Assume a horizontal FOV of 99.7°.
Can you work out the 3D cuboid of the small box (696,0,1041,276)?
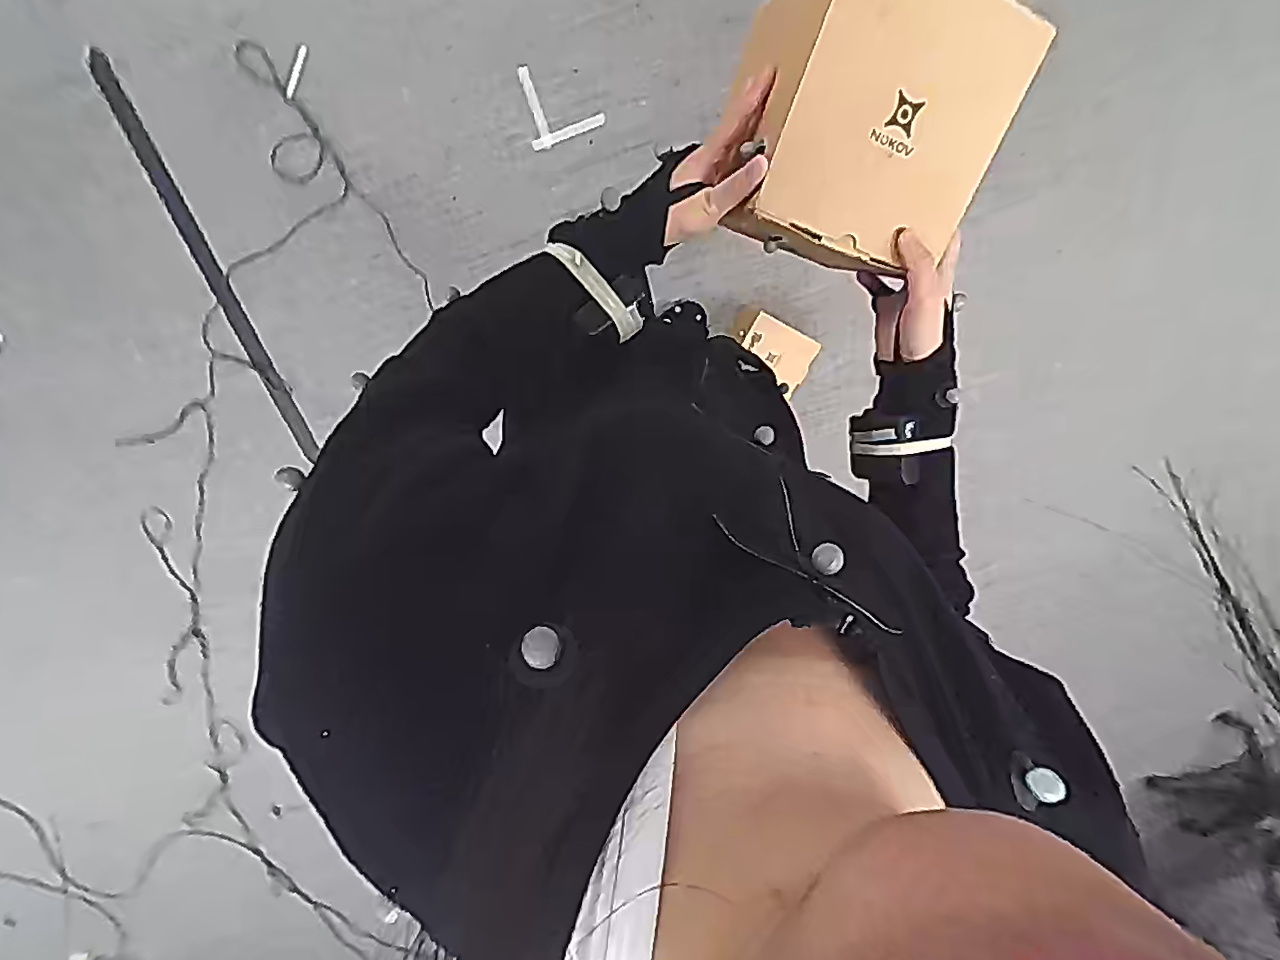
[{"bbox_3d":[0.162,-0.291,0.450,0.168,0.176,0.179,12,114,-17],"label":"small box"}]

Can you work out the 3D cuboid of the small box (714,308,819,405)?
[{"bbox_3d":[0.308,-0.317,1.357,0.179,0.176,0.168,25,110,-13],"label":"small box"}]
